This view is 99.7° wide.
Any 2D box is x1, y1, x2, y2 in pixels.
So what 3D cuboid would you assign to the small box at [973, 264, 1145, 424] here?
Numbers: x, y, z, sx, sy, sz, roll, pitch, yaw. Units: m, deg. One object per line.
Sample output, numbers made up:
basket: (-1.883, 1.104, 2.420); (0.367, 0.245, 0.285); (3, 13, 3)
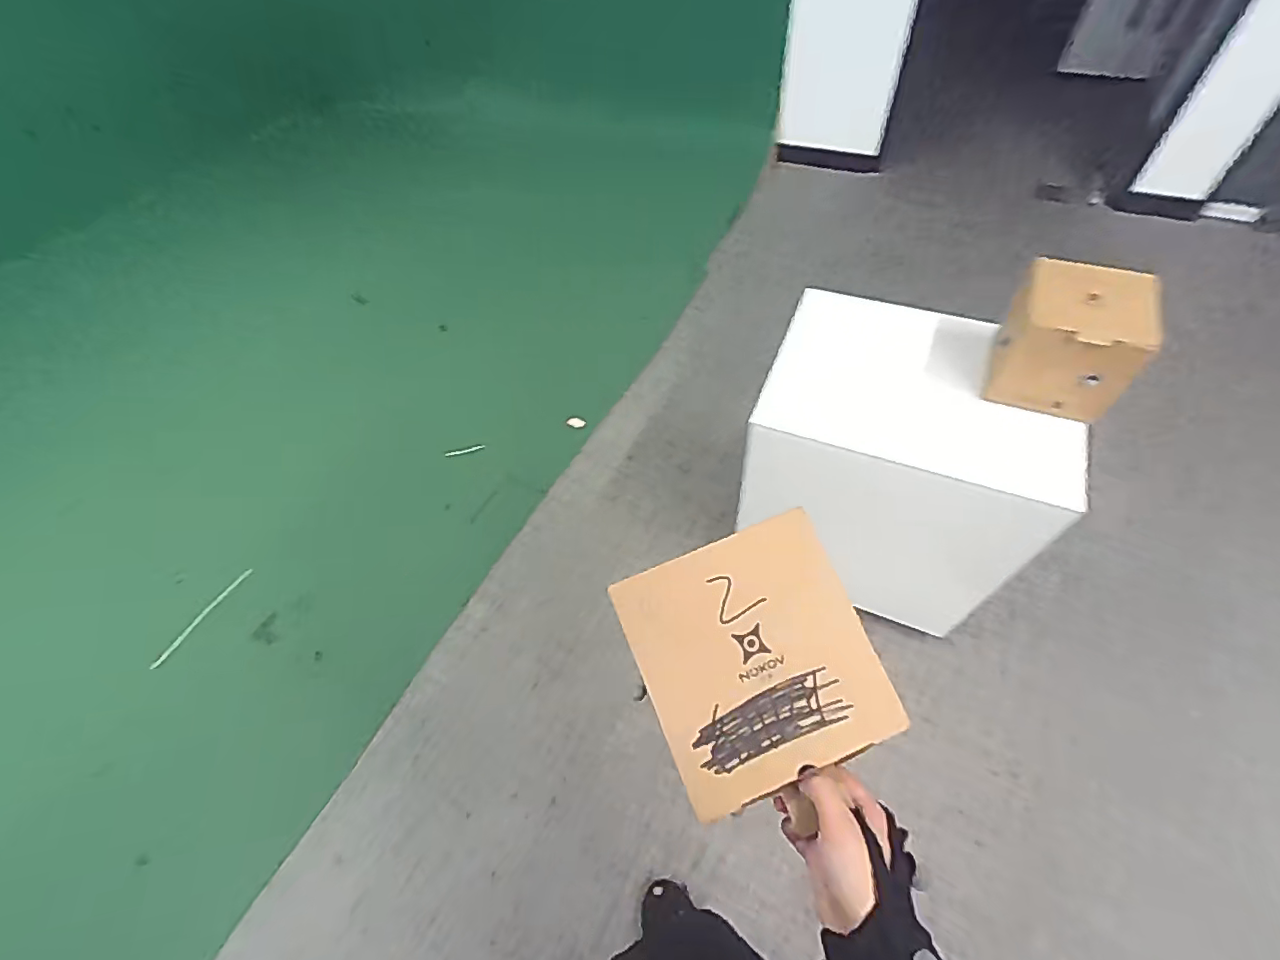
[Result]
small box: (0.671, -0.219, 0.884); (0.168, 0.176, 0.179); (18, 58, 16)
